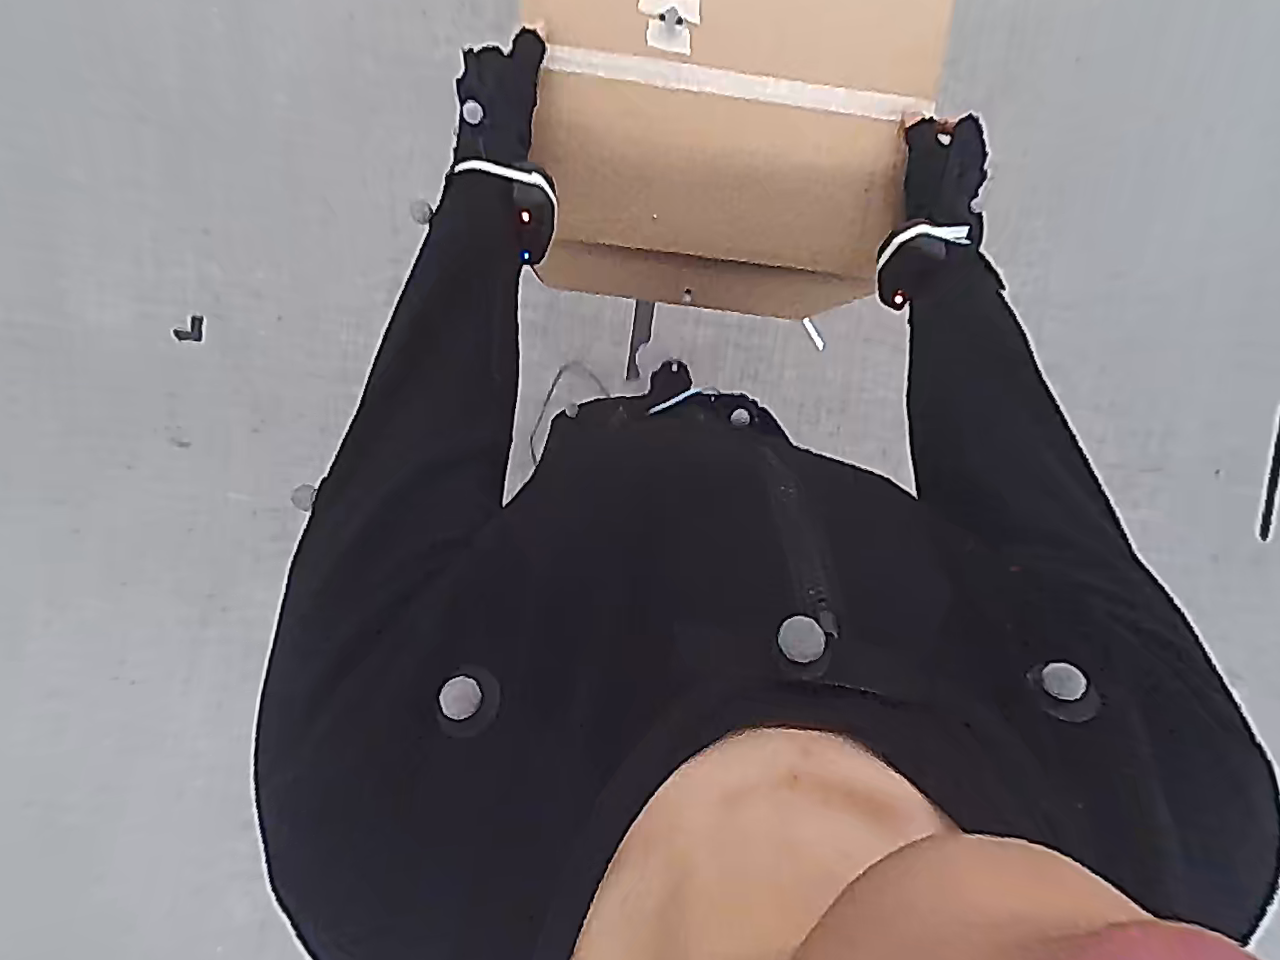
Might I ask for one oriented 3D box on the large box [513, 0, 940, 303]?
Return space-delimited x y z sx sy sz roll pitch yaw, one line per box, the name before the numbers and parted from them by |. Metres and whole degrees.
large box | 0.079 -0.415 0.672 0.408 0.320 0.320 6 99 -4
